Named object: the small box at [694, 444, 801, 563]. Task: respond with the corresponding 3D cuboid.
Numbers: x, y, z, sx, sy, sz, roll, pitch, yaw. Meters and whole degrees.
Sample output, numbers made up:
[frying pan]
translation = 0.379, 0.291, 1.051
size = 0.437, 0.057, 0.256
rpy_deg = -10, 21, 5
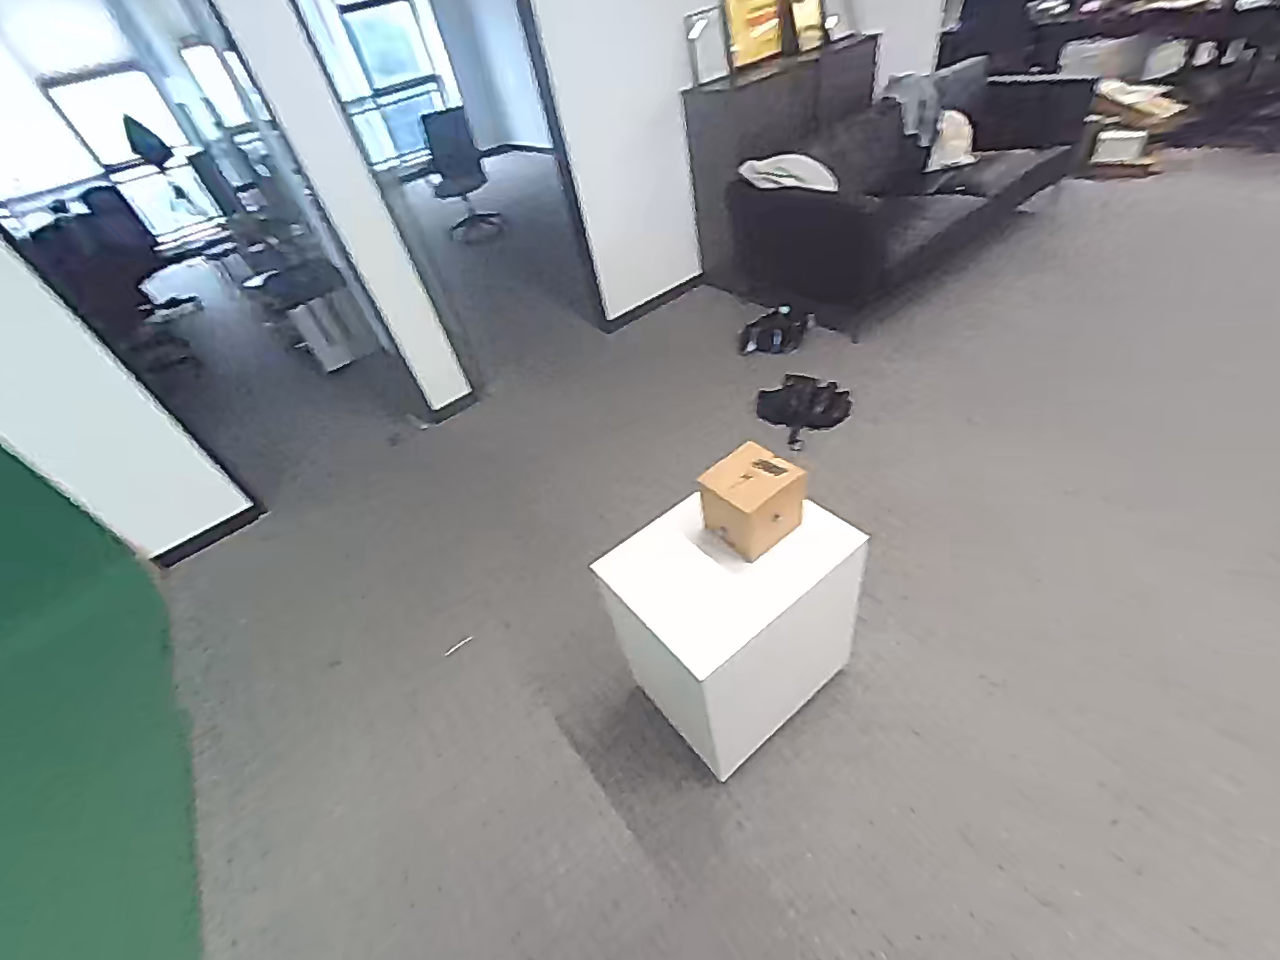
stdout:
[small box]
translation = 0.243, 0.053, 1.237
size = 0.179, 0.176, 0.168
rpy_deg = -32, 46, -22
